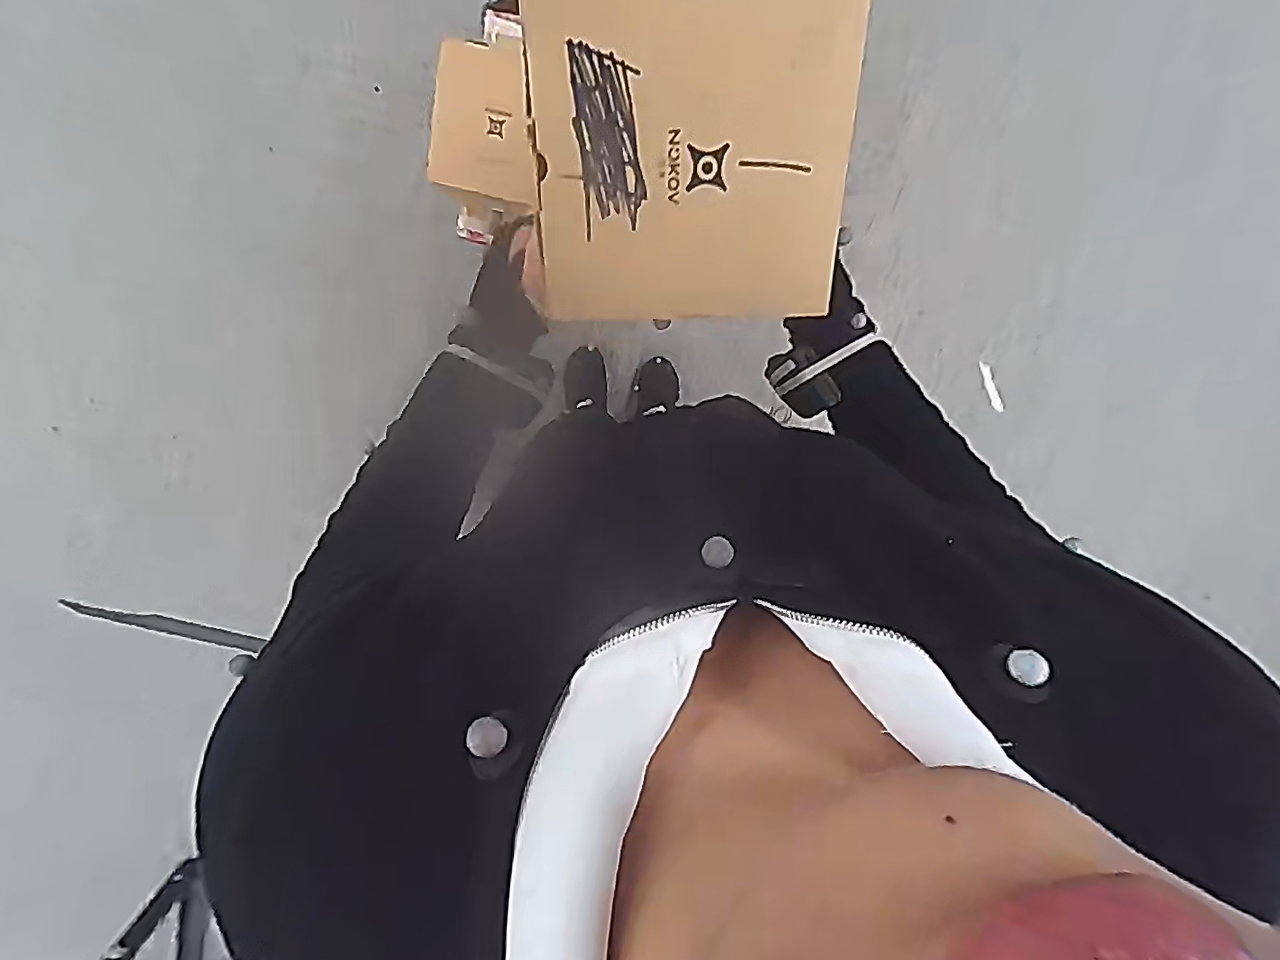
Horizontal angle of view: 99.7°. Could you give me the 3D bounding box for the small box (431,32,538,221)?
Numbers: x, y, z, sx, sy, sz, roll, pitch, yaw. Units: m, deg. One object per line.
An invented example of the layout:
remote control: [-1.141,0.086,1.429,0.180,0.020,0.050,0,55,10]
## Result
small box: [-0.190,-0.500,0.797,0.168,0.176,0.179,11,107,-5]

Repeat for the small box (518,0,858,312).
small box: [0.023,-0.215,0.377,0.179,0.176,0.168,-2,117,-2]
